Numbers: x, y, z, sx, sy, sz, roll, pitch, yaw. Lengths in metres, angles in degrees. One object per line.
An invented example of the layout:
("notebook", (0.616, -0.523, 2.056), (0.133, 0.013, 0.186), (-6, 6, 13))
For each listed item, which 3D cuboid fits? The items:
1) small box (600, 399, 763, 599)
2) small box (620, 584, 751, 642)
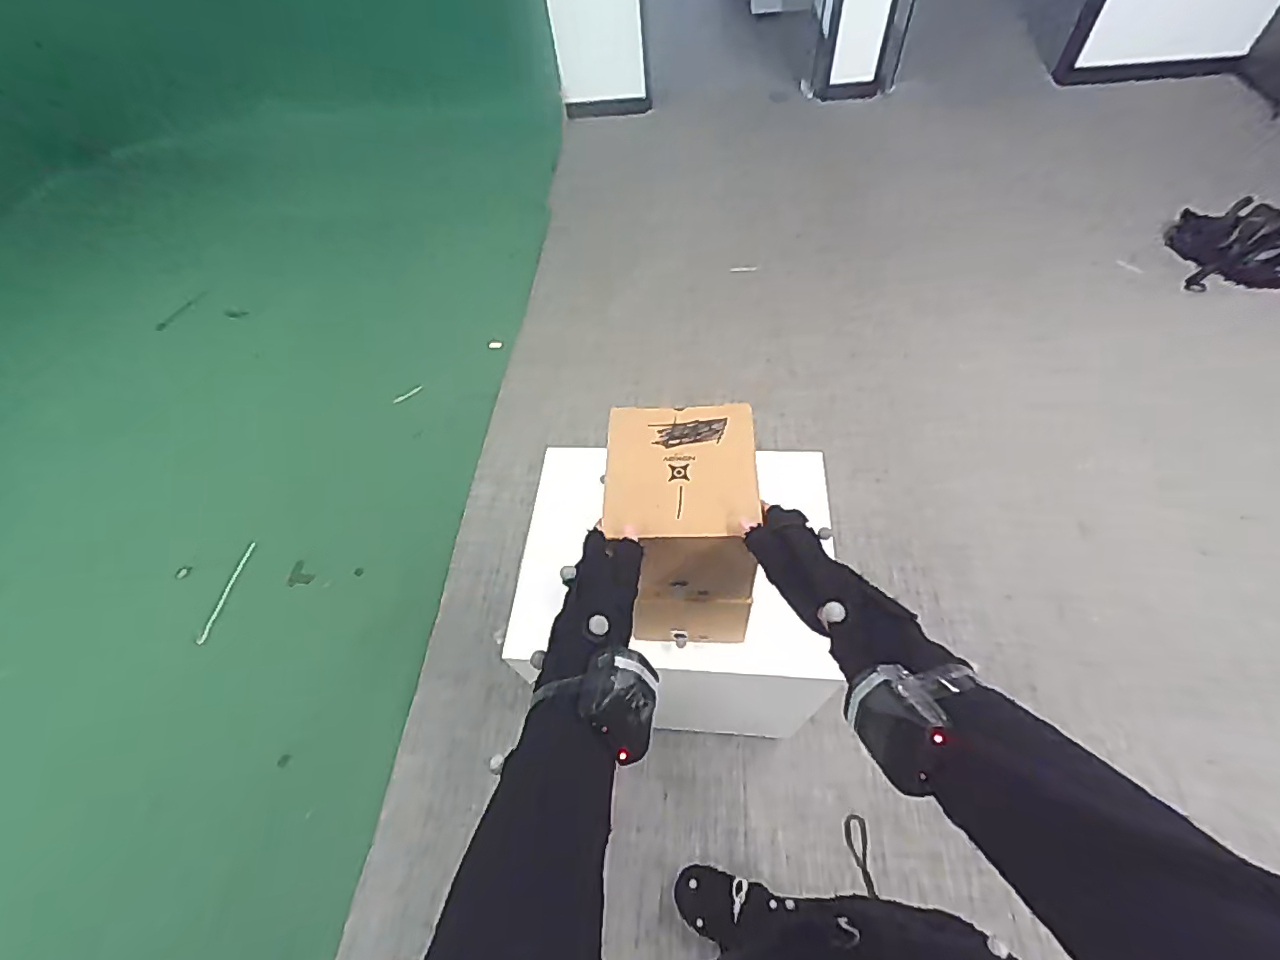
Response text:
("small box", (0.048, 0.027, 0.649), (0.168, 0.176, 0.179), (-4, 55, 5))
("small box", (0.068, 0.122, 0.781), (0.168, 0.176, 0.179), (-2, 58, 7))
